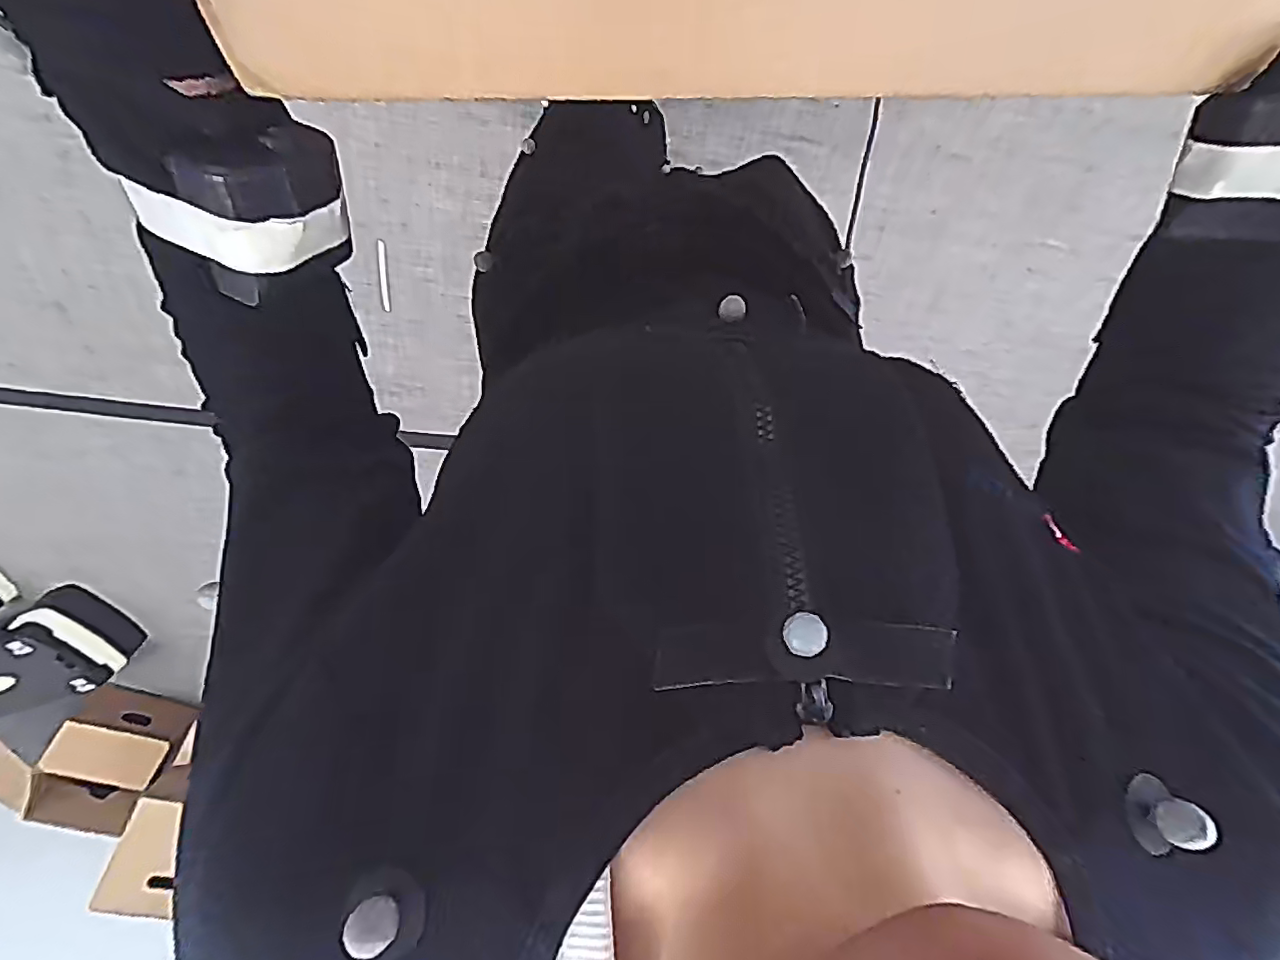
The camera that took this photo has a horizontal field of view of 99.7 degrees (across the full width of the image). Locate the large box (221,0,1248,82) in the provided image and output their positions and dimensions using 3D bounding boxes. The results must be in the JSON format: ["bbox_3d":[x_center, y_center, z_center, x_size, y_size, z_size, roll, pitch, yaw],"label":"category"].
[{"bbox_3d":[0.040,-0.376,0.181,0.408,0.320,0.320,-3,145,-5],"label":"large box"}]
